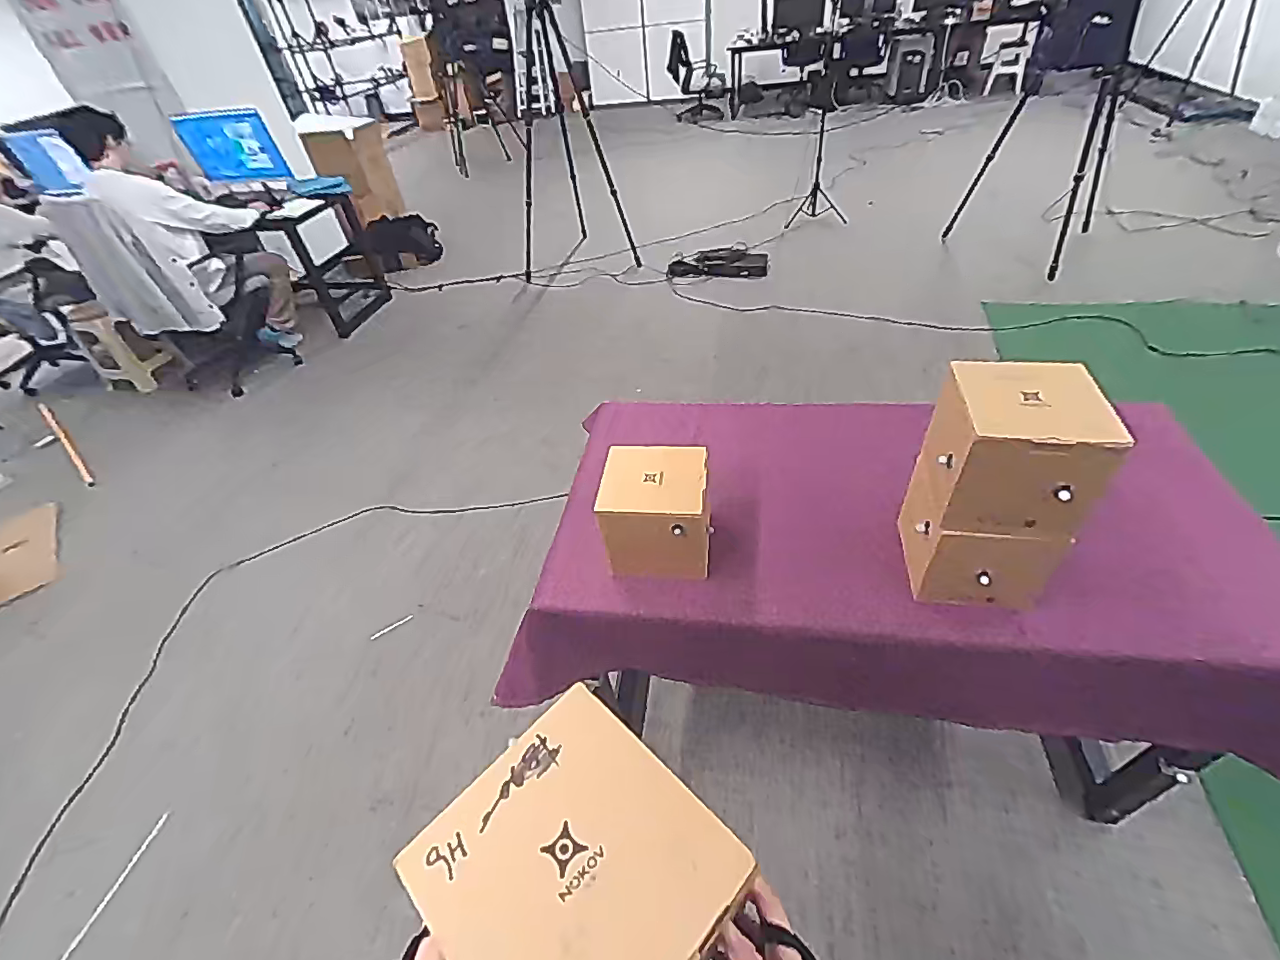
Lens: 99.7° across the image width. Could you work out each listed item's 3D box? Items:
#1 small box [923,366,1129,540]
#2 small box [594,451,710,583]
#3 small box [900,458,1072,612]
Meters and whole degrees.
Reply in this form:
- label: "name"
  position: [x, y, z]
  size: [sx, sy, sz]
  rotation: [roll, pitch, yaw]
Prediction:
- label: "small box"
  position: [0.503, -0.038, 0.739]
  size: [0.168, 0.176, 0.179]
  rotation: [4, 43, 14]
- label: "small box"
  position: [0.030, 0.066, 0.954]
  size: [0.179, 0.176, 0.168]
  rotation: [1, 42, 10]
- label: "small box"
  position: [0.521, 0.085, 0.846]
  size: [0.168, 0.176, 0.179]
  rotation: [3, 43, 12]
